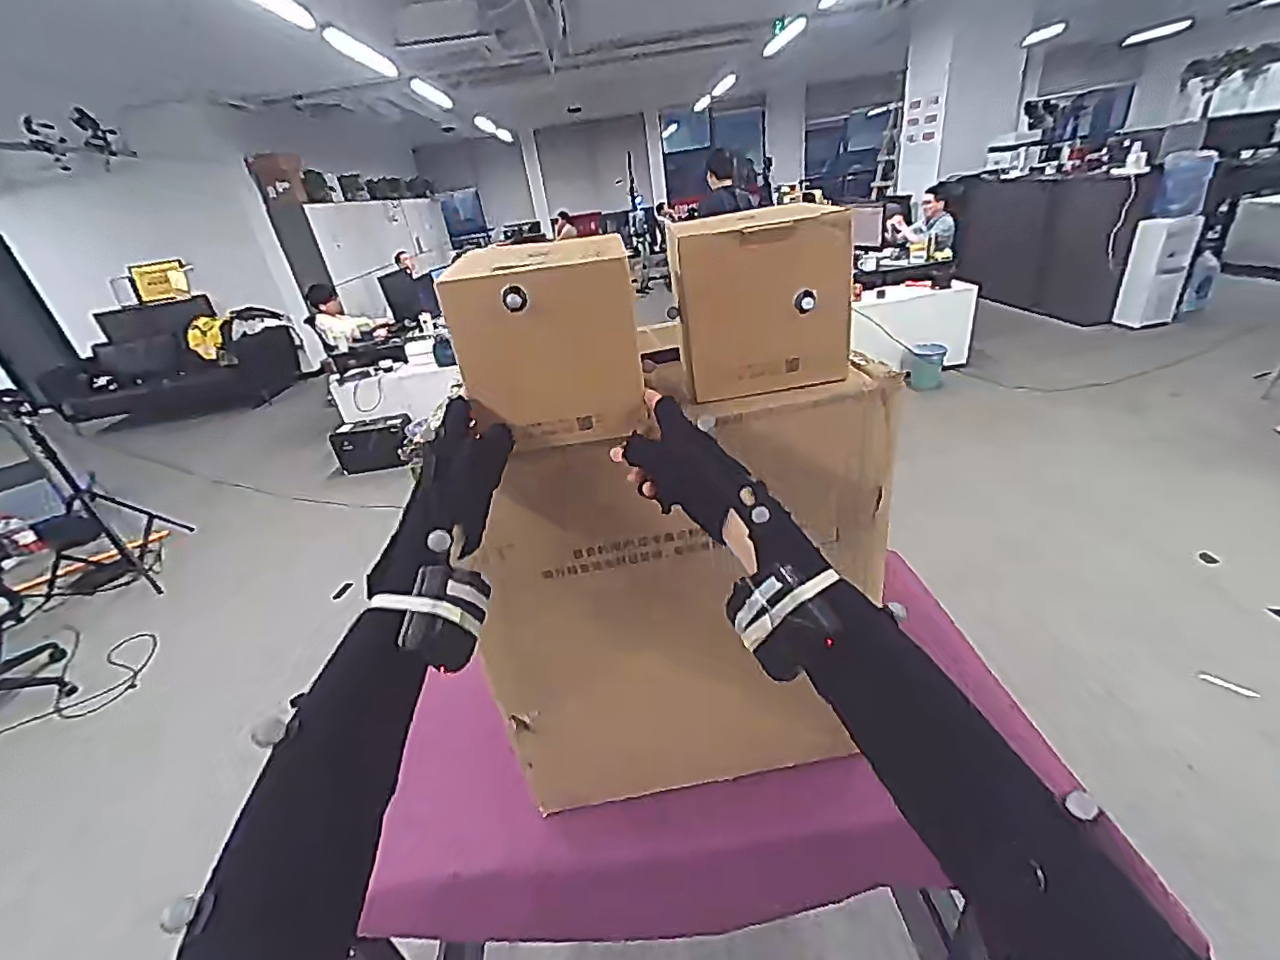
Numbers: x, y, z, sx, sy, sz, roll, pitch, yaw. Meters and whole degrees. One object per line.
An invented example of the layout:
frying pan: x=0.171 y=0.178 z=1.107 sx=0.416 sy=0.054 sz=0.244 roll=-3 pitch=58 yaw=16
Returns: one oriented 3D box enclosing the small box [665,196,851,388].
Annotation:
small box: x=0.124 y=-0.208 z=0.605 sx=0.168 sy=0.176 sz=0.179 roll=-8 pitch=27 yaw=2
